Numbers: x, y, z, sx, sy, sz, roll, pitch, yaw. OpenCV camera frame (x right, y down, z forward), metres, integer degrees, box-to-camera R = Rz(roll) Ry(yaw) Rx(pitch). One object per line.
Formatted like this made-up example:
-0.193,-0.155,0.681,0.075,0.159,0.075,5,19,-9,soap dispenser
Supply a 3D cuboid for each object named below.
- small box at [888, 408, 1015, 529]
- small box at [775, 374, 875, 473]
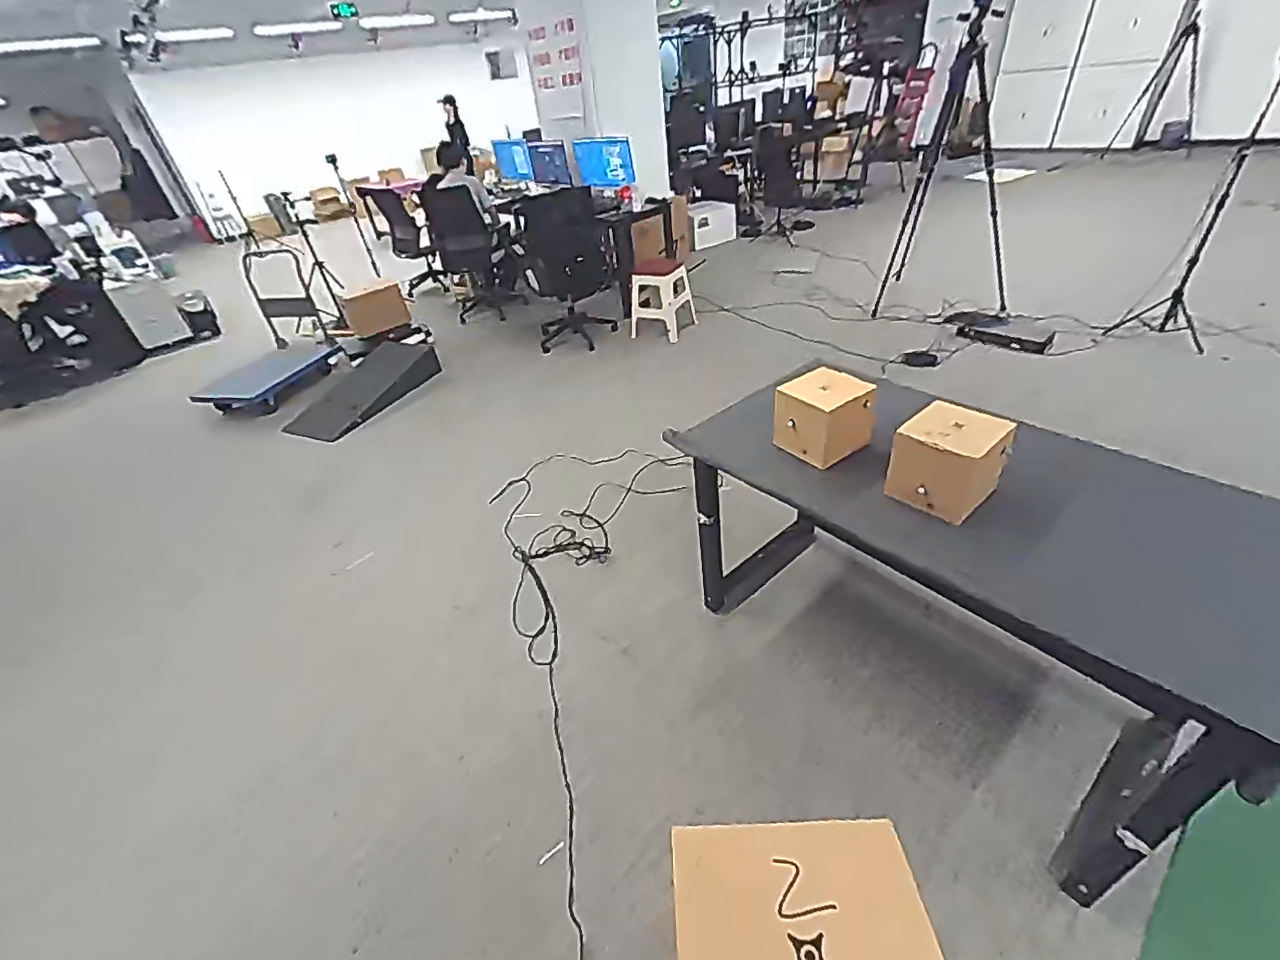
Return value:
0.657,-0.028,1.159,0.179,0.176,0.168,-30,41,-28,small box
0.458,-0.142,1.355,0.179,0.176,0.168,-26,40,-25,small box
